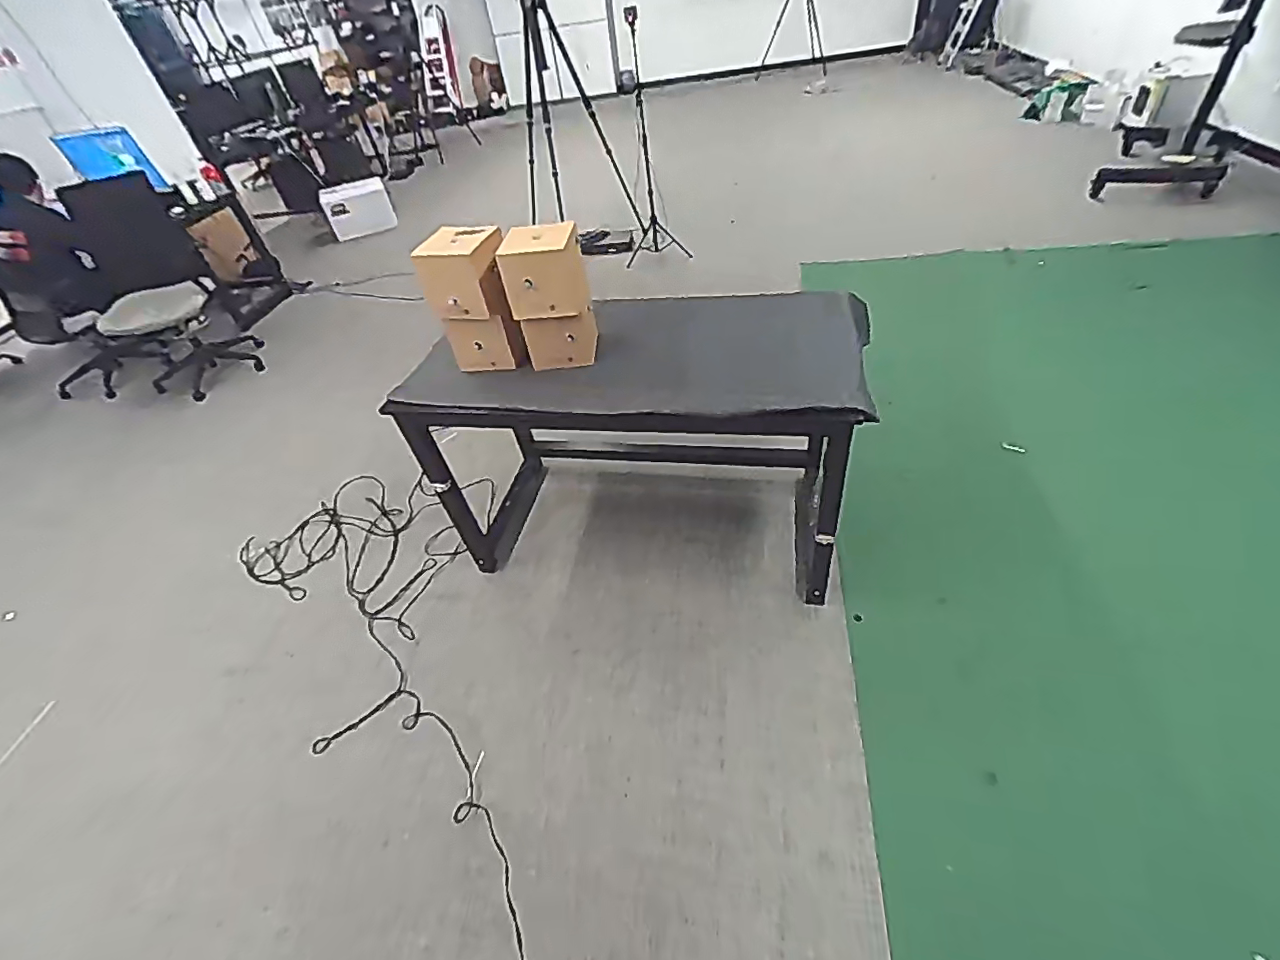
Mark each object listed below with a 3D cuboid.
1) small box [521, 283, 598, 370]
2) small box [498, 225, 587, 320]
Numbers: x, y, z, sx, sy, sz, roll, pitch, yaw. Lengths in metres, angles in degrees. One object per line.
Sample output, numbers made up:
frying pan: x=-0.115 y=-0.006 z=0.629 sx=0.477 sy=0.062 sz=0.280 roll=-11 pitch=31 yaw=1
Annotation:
small box: x=-0.212 y=-0.412 z=1.473 sx=0.168 sy=0.176 sz=0.179 roll=-4 pitch=43 yaw=5
small box: x=-0.233 y=-0.509 z=1.342 sx=0.168 sy=0.176 sz=0.179 roll=-2 pitch=43 yaw=6
